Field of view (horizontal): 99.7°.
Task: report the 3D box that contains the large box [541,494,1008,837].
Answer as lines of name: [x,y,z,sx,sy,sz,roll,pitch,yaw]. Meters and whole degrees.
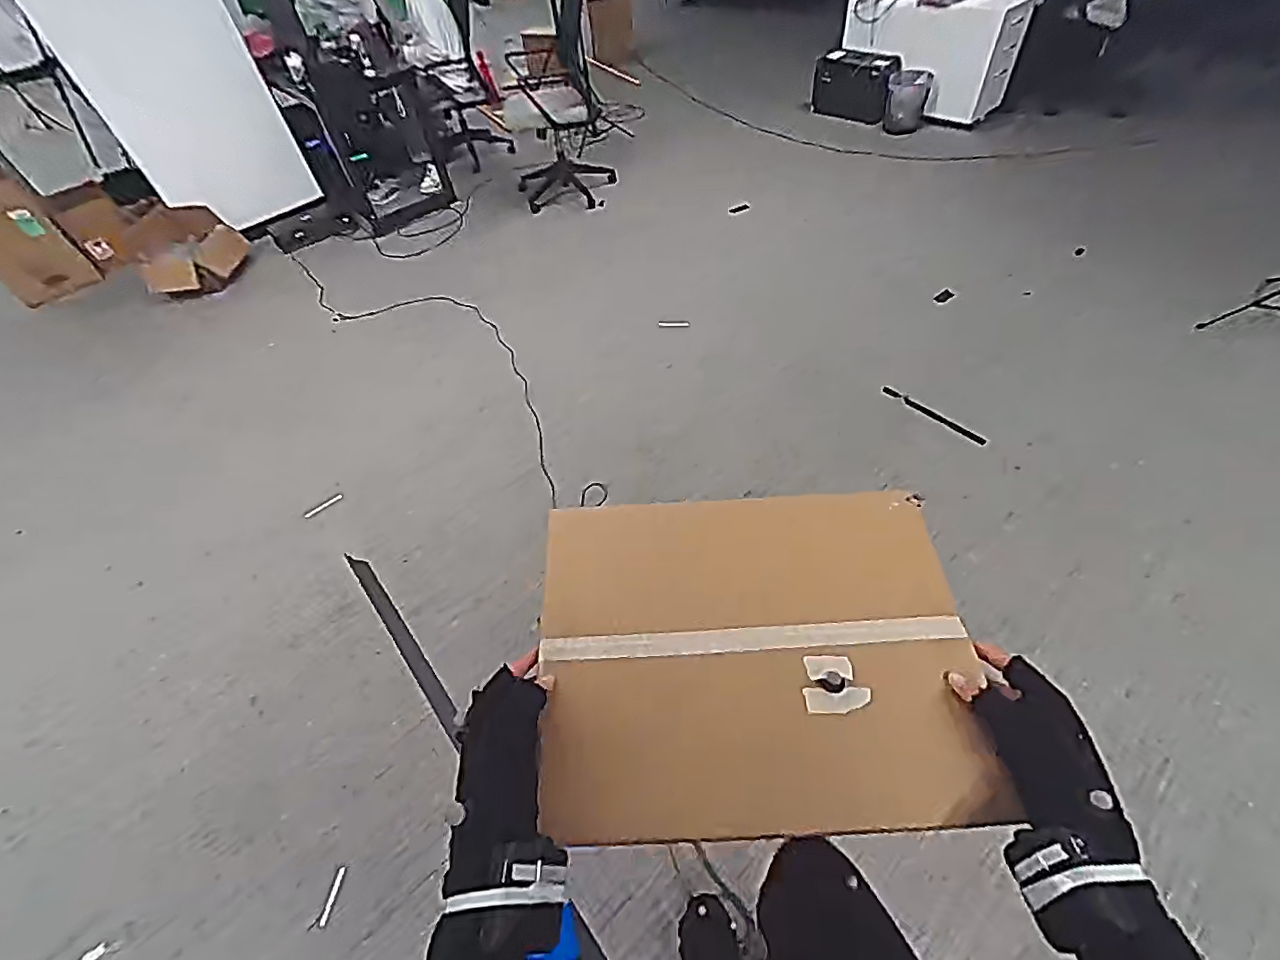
large box: [0.110,0.237,0.657,0.408,0.320,0.320,-3,57,1]

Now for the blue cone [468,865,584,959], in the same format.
blue cone: [-0.249,0.861,1.038,0.193,0.380,0.192,-20,51,-7]
